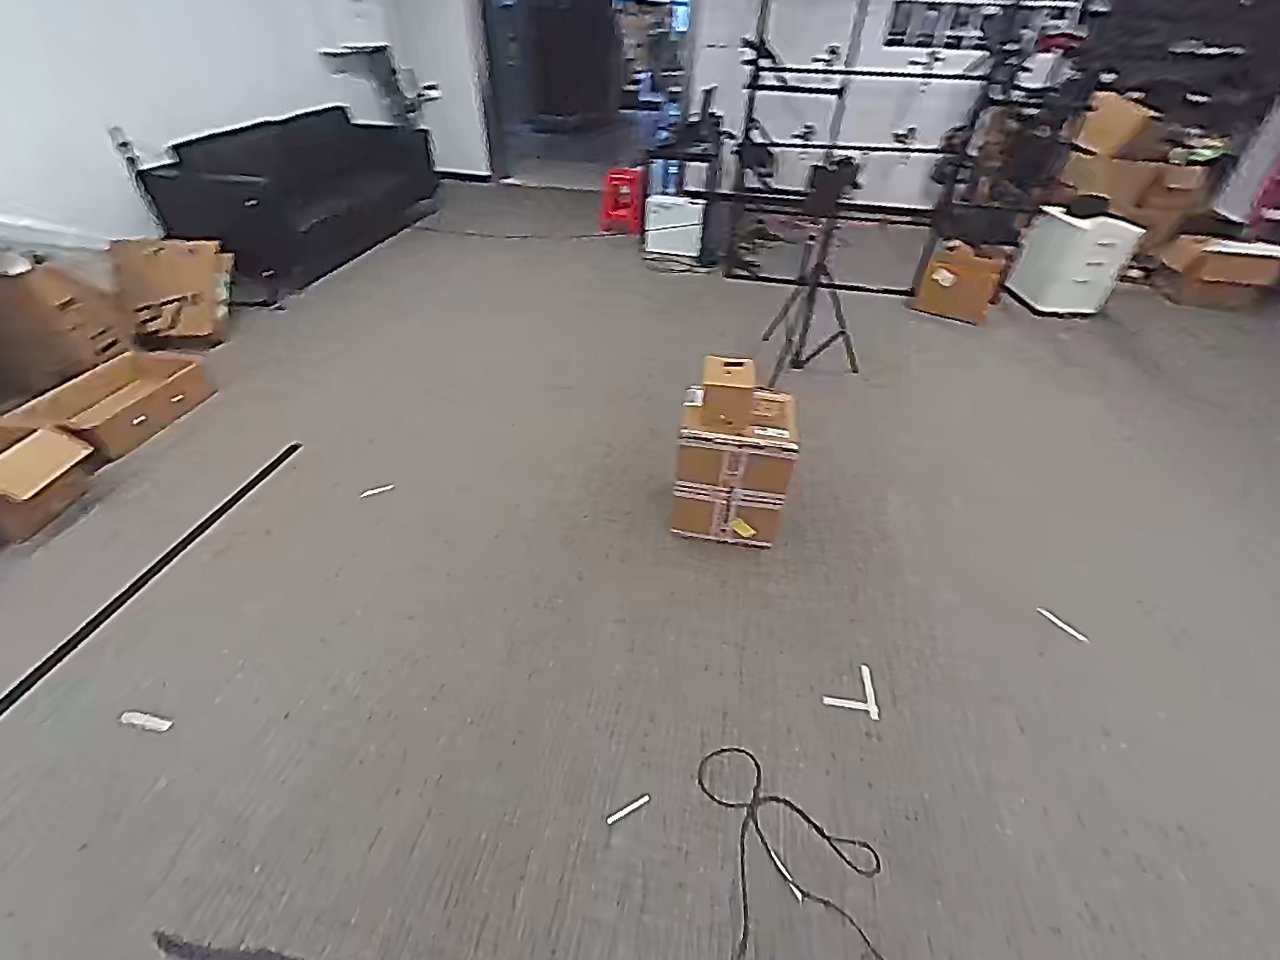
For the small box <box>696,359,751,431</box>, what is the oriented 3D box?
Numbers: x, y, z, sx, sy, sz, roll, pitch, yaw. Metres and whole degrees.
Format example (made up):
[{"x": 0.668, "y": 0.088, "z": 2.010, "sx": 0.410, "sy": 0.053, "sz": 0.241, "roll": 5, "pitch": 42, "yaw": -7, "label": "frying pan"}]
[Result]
[{"x": 0.283, "y": -0.291, "z": 1.839, "sx": 0.168, "sy": 0.176, "sz": 0.179, "roll": 5, "pitch": 44, "yaw": 6, "label": "small box"}]
